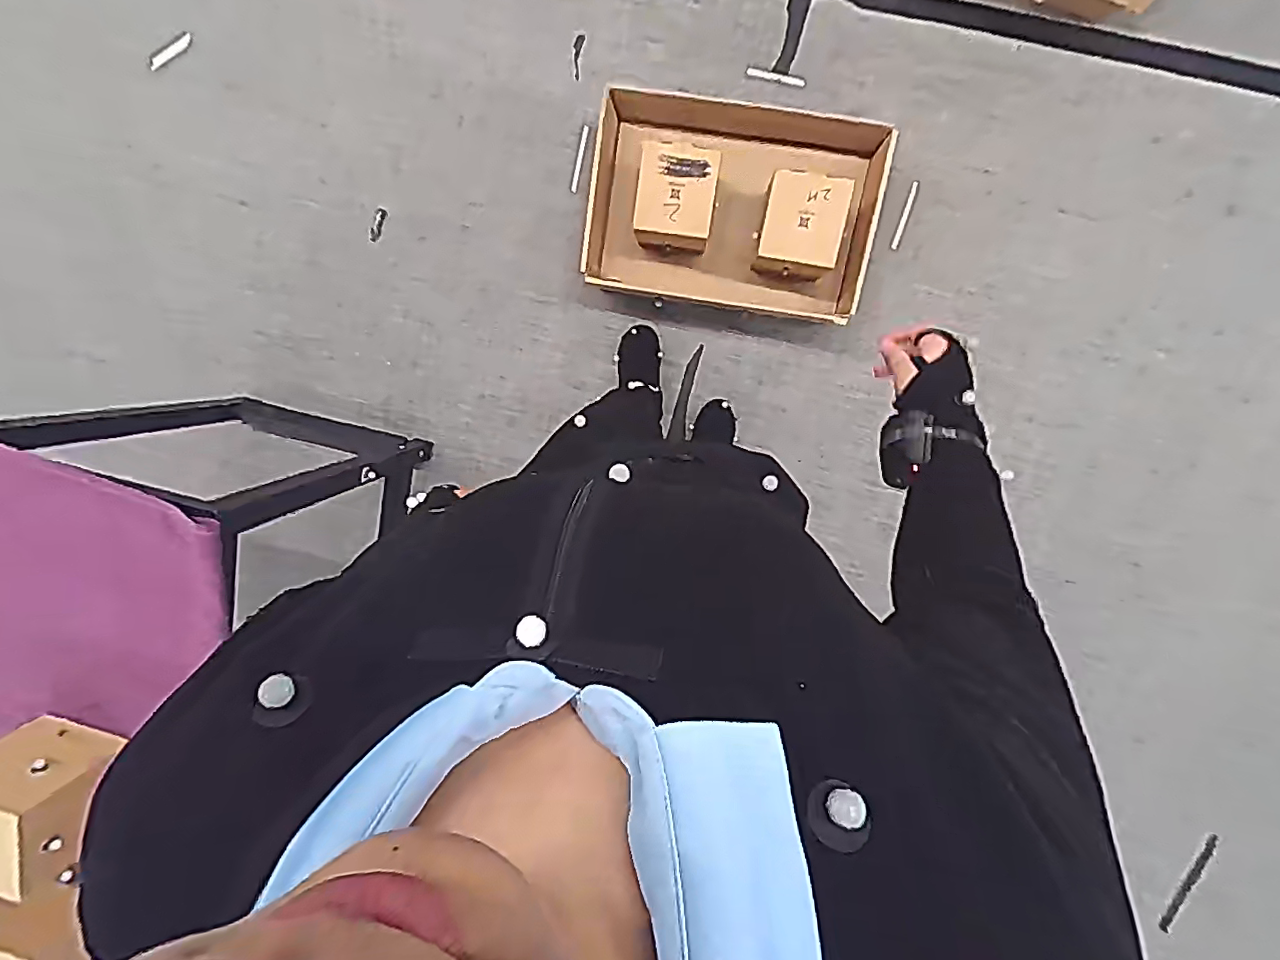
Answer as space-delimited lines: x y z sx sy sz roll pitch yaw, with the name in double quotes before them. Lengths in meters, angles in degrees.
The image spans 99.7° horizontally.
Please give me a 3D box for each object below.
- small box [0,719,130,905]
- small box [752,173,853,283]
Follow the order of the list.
"small box" -0.988 0.528 0.882 0.168 0.176 0.179 15 104 2
"small box" 0.352 -0.552 1.209 0.168 0.176 0.179 11 102 3
